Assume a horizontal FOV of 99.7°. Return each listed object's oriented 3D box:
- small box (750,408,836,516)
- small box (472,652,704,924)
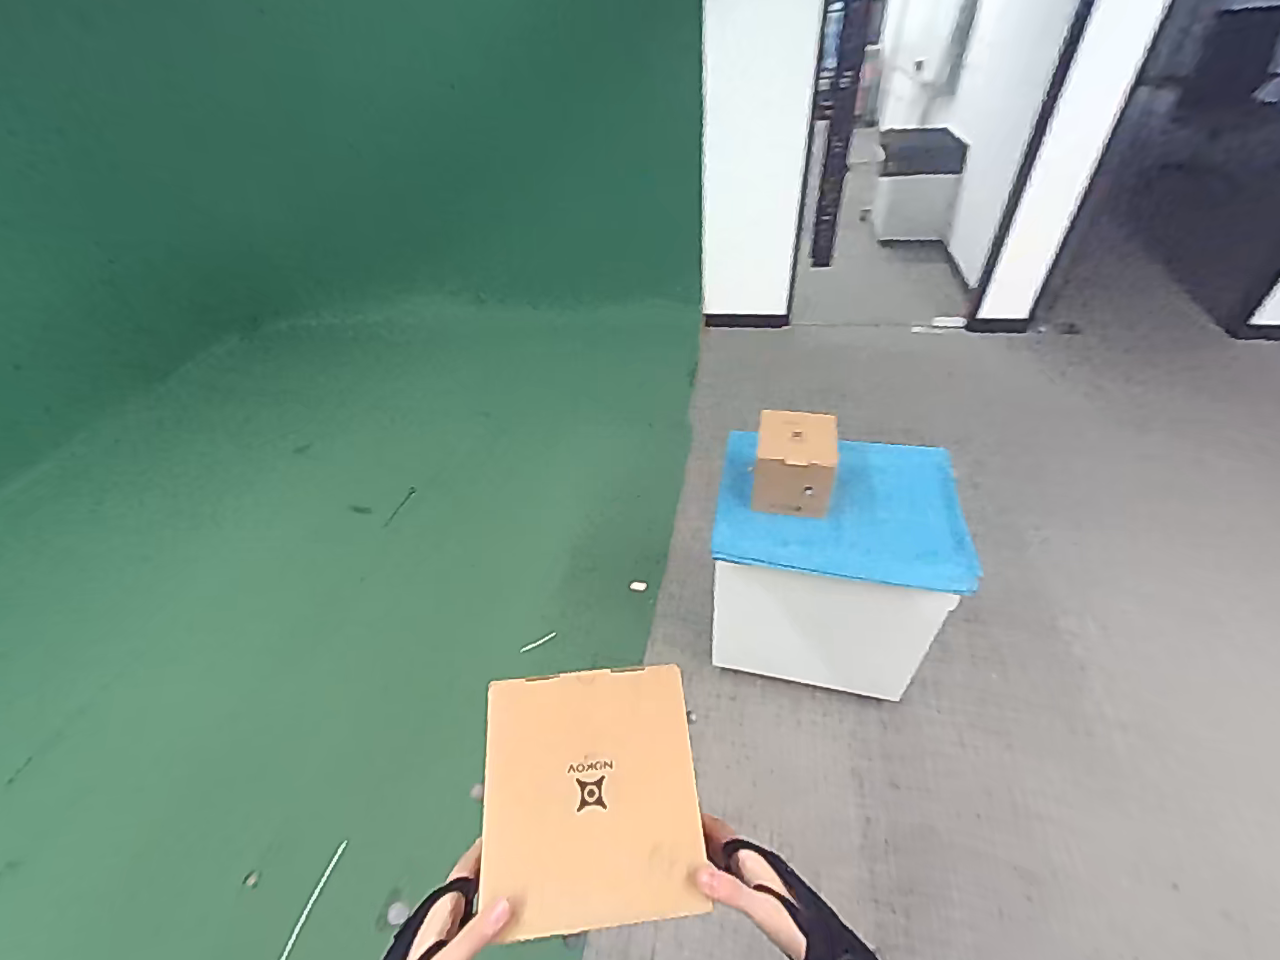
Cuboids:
[{"bbox_3d":[0.345,-0.040,1.227,0.168,0.176,0.179,8,44,12],"label":"small box"},{"bbox_3d":[-0.043,0.270,0.485,0.168,0.176,0.179,-2,55,-5],"label":"small box"}]
